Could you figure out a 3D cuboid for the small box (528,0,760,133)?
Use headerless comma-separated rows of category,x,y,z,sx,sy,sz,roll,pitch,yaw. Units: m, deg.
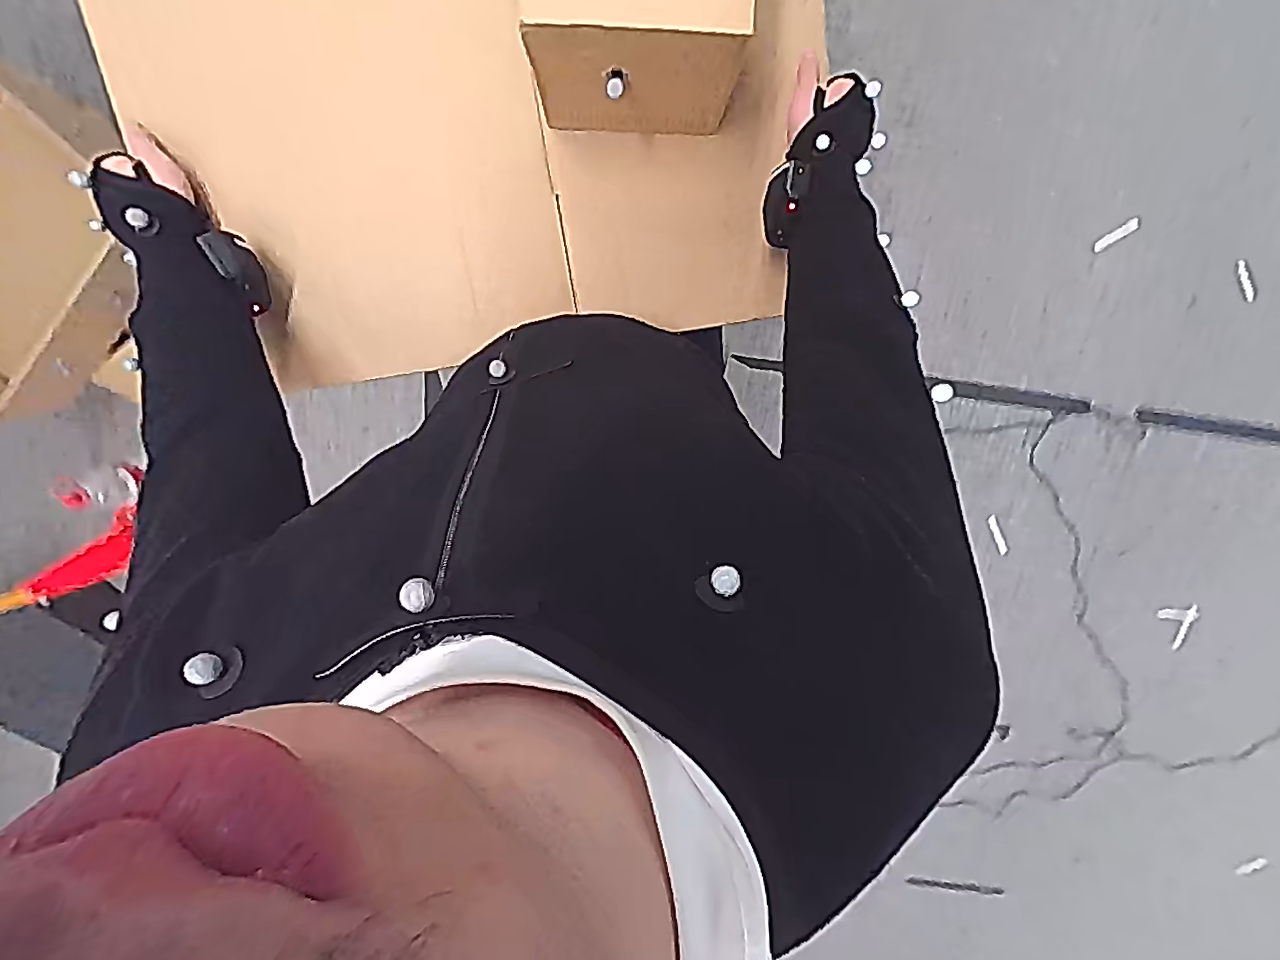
small box,0.005,-0.429,0.471,0.179,0.176,0.168,2,101,-1
